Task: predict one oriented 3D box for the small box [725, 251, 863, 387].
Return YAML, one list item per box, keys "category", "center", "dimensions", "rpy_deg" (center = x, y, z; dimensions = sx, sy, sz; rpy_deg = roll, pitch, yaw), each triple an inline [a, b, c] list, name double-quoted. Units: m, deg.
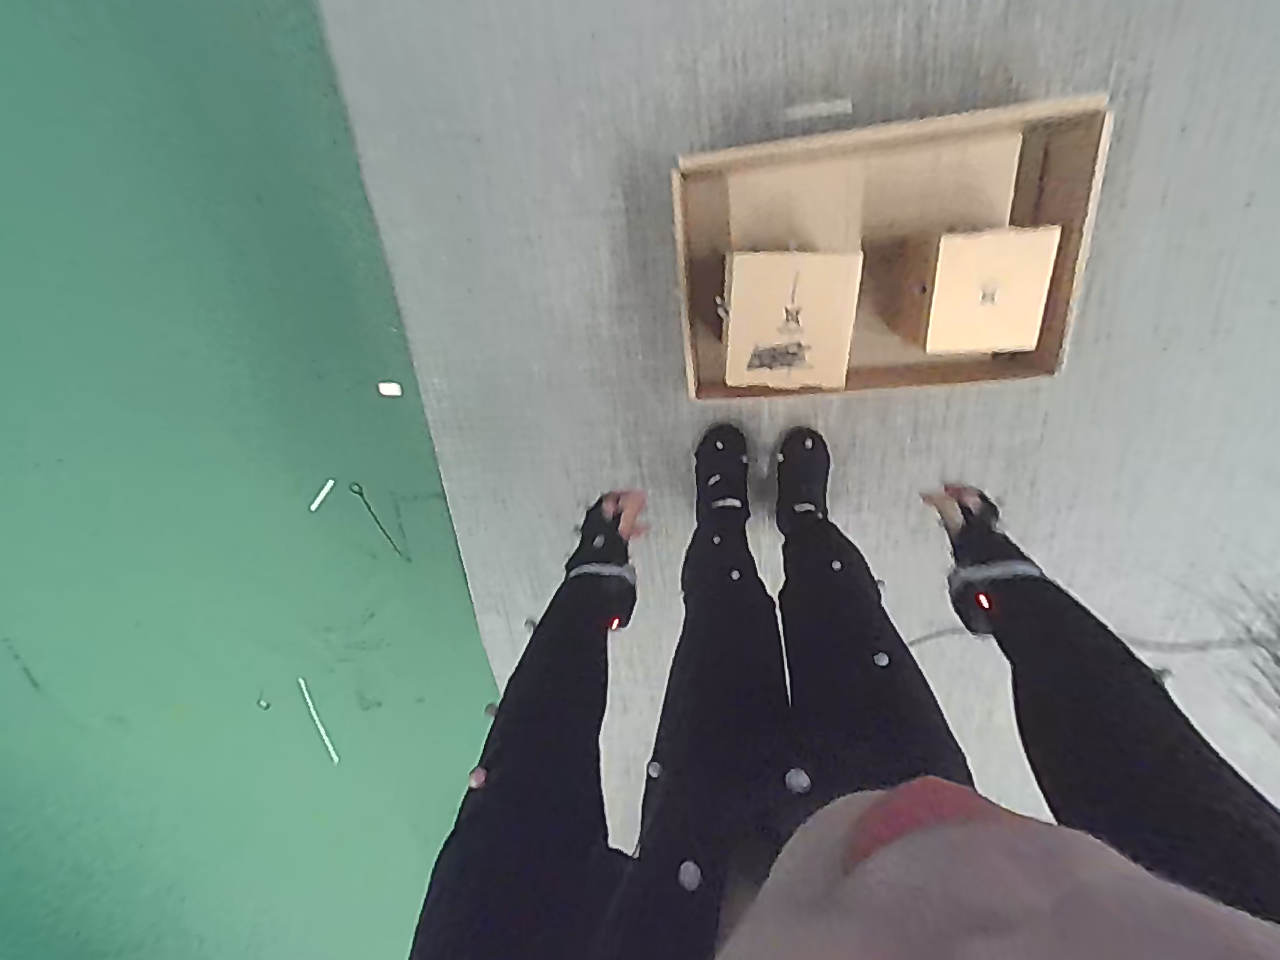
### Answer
- category: "small box"
  center: [0.215, -0.245, 0.805]
  dimensions: [0.168, 0.176, 0.179]
  rpy_deg: [3, 112, 6]
